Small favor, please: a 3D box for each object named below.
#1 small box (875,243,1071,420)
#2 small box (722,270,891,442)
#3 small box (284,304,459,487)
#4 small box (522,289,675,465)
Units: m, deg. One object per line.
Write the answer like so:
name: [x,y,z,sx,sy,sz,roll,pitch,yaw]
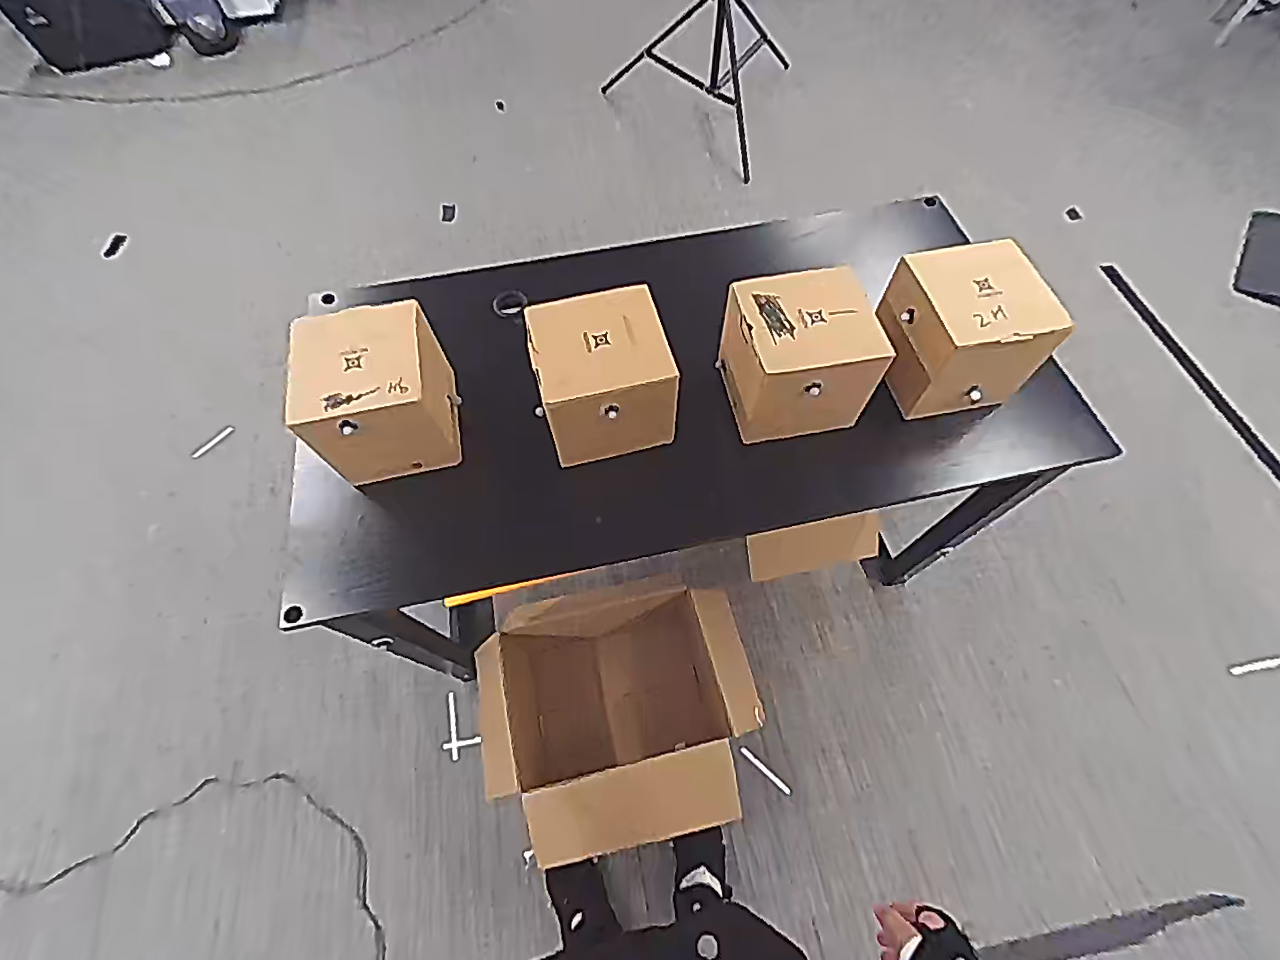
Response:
small box: [0.463,-0.214,0.799,0.168,0.176,0.179,-10,63,-3]
small box: [0.222,-0.171,0.783,0.179,0.176,0.168,-9,63,-5]
small box: [-0.365,-0.114,0.765,0.168,0.176,0.179,-12,63,-5]
small box: [-0.056,-0.139,0.774,0.179,0.176,0.168,-13,64,-7]
